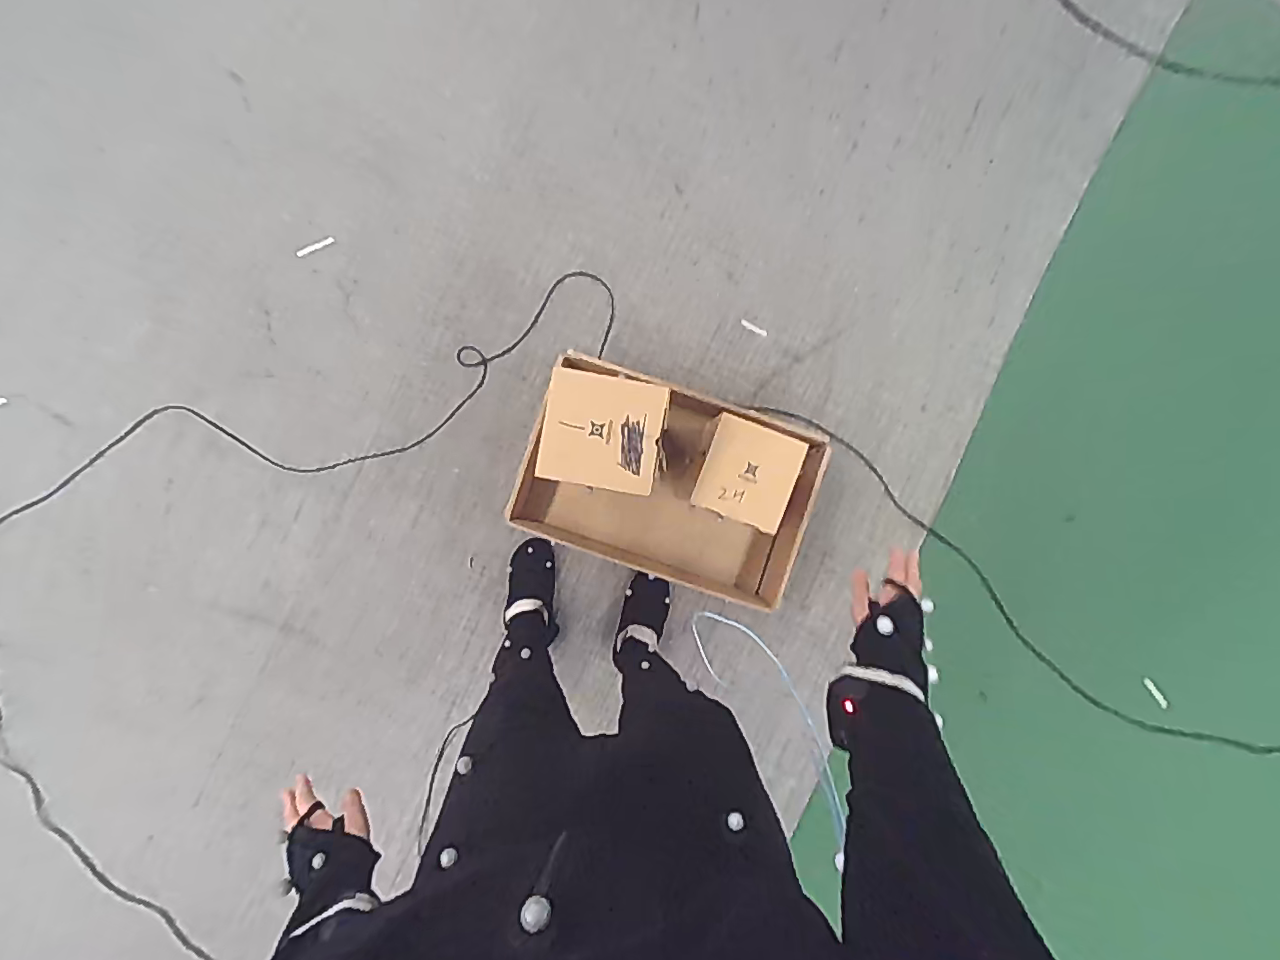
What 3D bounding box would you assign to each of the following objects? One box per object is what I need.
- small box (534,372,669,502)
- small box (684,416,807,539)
[{"bbox_3d":[-0.058,-0.064,0.872,0.179,0.176,0.168,10,90,-2],"label":"small box"},{"bbox_3d":[0.191,-0.003,1.037,0.168,0.176,0.179,21,89,0],"label":"small box"}]
